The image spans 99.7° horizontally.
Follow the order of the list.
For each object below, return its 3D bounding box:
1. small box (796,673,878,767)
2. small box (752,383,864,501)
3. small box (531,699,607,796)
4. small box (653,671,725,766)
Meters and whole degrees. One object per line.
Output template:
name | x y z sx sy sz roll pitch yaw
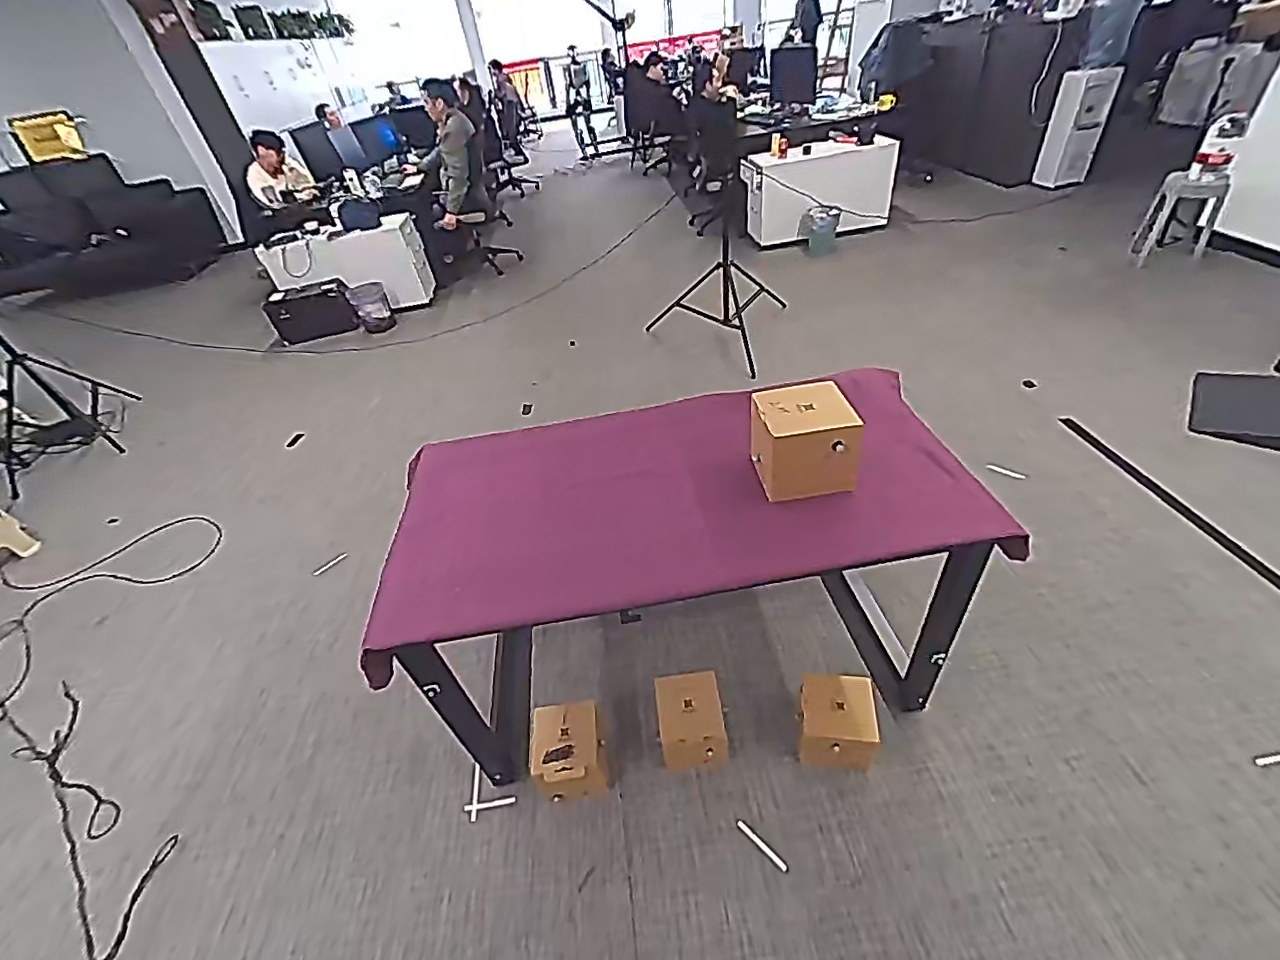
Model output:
small box | 0.502 0.624 1.403 0.179 0.176 0.168 0 42 13
small box | 0.336 -0.078 1.121 0.179 0.176 0.168 -9 39 1
small box | -0.184 0.712 1.428 0.168 0.176 0.179 -9 39 0
small box | 0.132 0.644 1.450 0.168 0.176 0.179 -8 39 0
